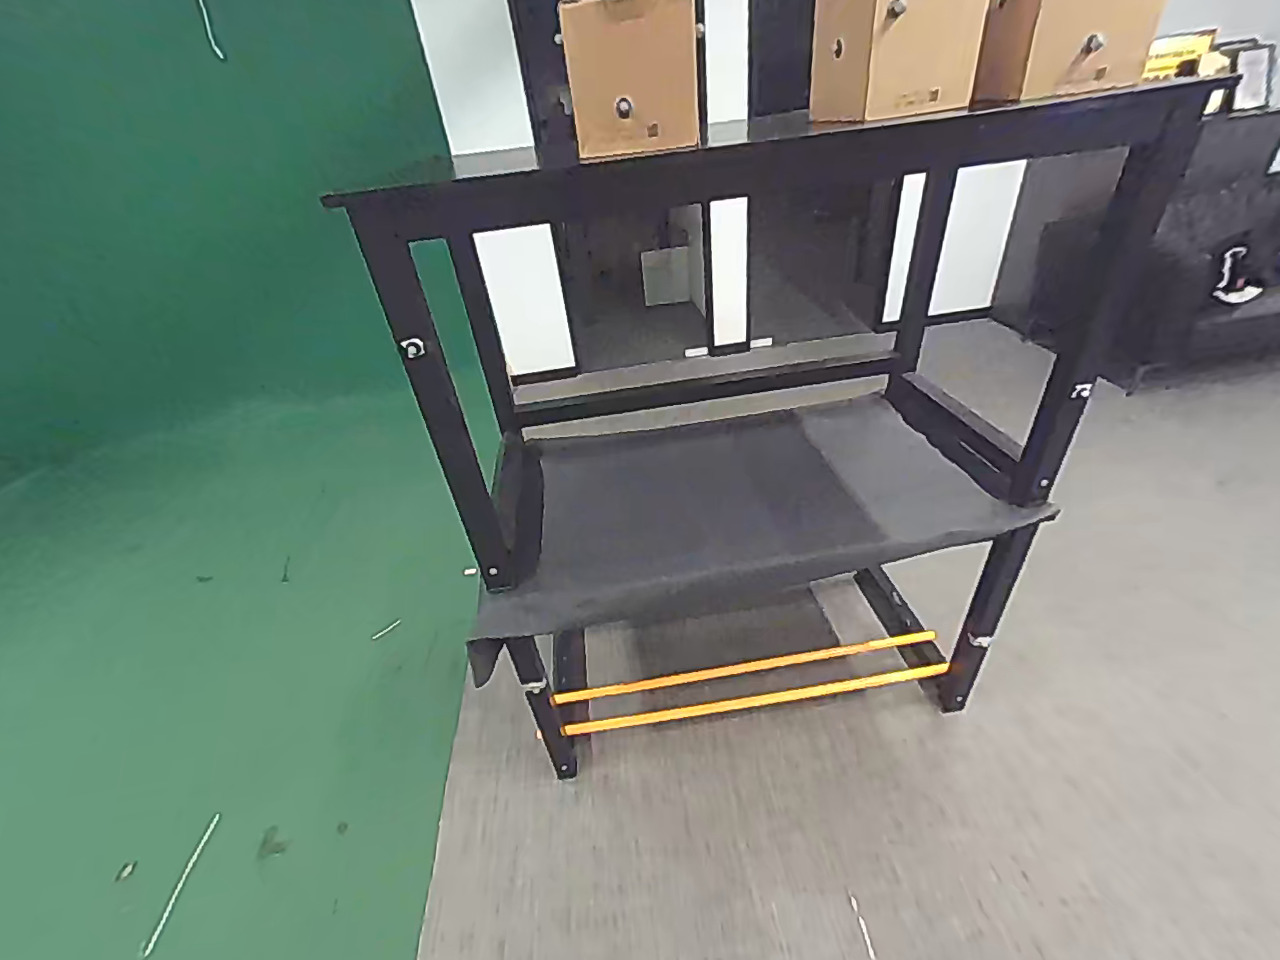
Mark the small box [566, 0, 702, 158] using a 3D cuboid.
[{"bbox_3d":[0.000,-0.561,0.763,0.168,0.176,0.179,-3,35,5],"label":"small box"}]
